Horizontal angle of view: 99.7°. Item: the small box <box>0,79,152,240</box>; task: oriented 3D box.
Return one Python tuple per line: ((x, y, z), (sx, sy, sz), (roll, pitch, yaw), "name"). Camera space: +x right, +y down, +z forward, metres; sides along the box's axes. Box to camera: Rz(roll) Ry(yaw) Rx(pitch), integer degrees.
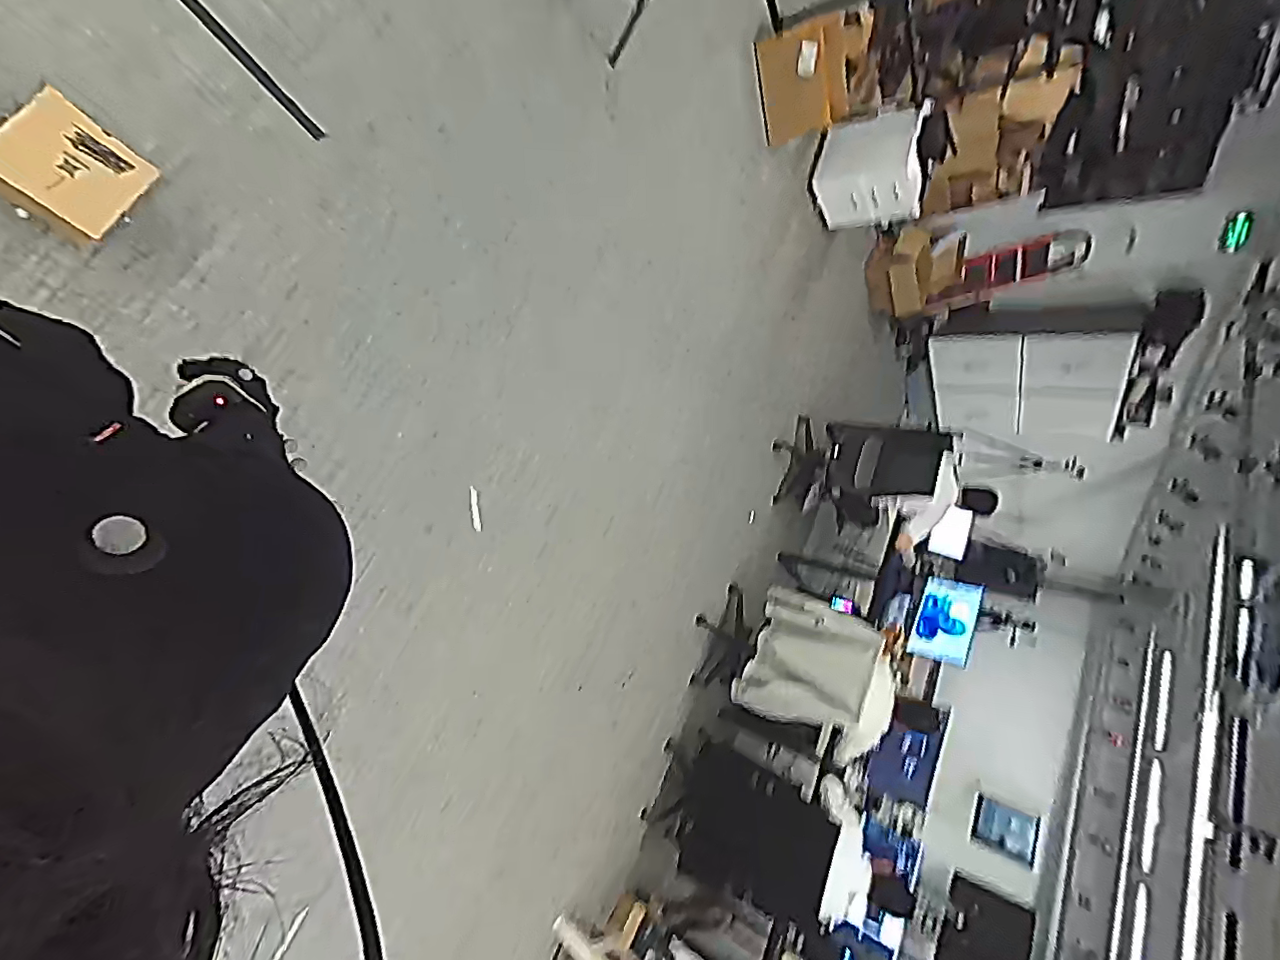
((-1.030, -0.554, 0.954), (0.168, 0.176, 0.179), (46, 64, -47), "small box")
